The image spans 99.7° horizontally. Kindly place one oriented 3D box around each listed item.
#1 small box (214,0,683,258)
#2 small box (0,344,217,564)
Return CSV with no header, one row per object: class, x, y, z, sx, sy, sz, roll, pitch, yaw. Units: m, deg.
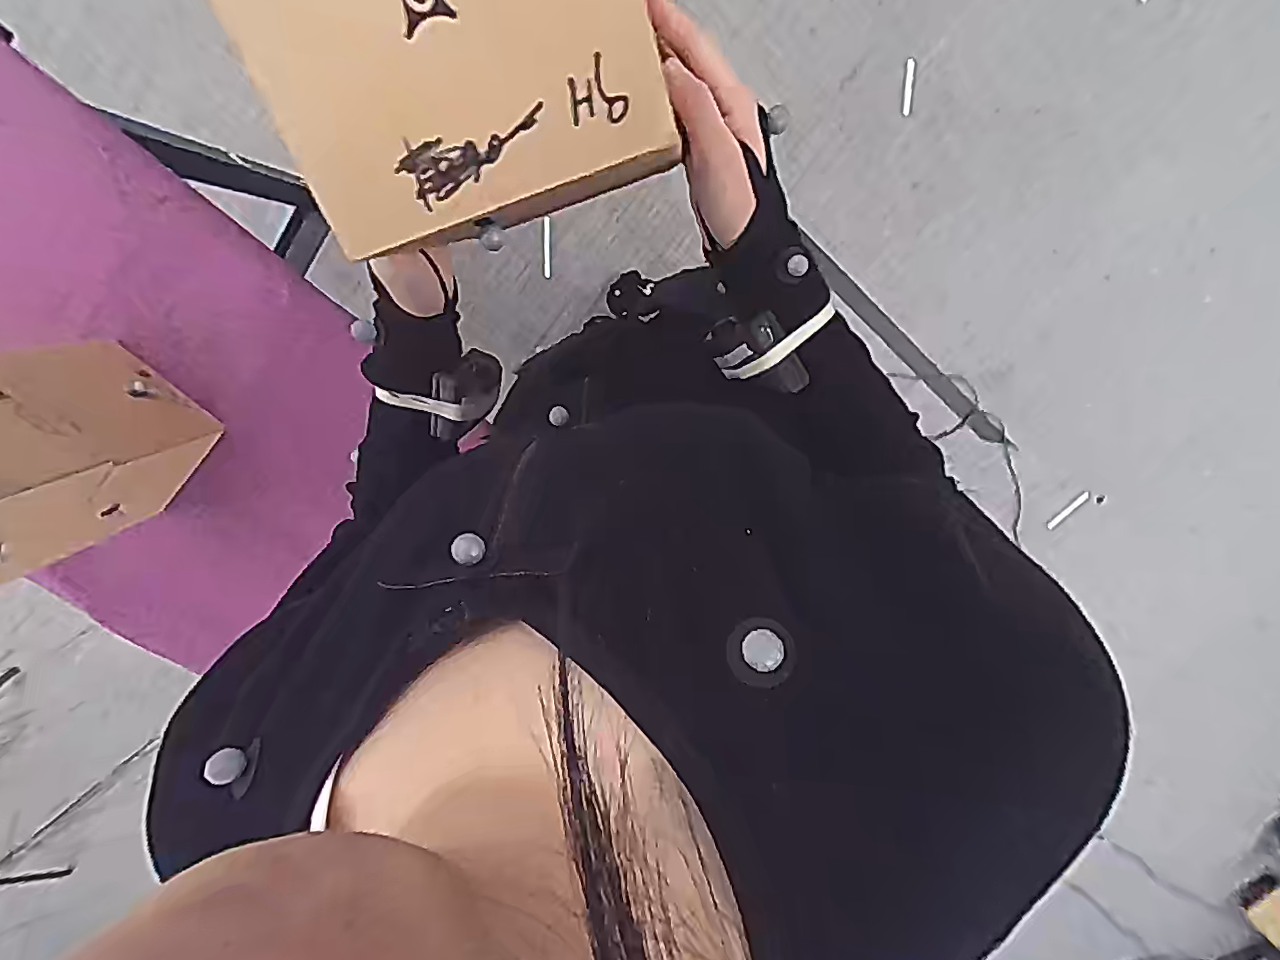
small box,-0.078,-0.231,0.274,0.168,0.176,0.179,-12,116,13
small box,-0.670,-0.040,0.648,0.179,0.176,0.168,-43,105,13
